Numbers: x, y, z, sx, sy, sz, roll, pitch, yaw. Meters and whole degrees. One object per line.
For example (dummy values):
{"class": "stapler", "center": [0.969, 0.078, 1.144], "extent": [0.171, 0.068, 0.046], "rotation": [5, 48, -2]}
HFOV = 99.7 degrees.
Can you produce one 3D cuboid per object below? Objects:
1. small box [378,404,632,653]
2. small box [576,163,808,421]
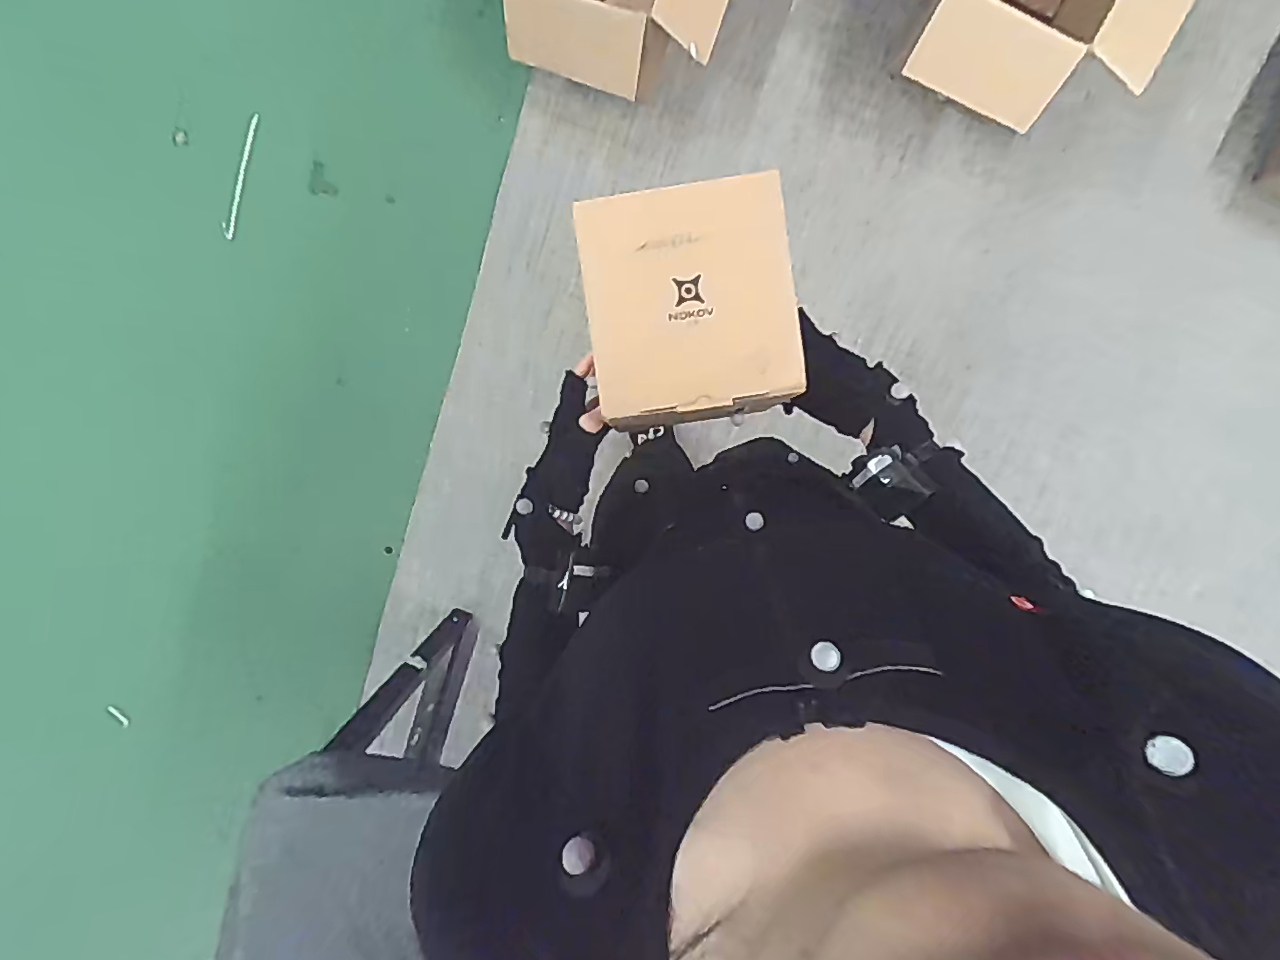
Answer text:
{"class": "small box", "center": [-0.126, 0.053, 0.564], "extent": [0.176, 0.168, 0.179], "rotation": [35, 74, 14]}
{"class": "small box", "center": [0.044, -0.150, 0.500], "extent": [0.168, 0.176, 0.179], "rotation": [-8, 91, 2]}
